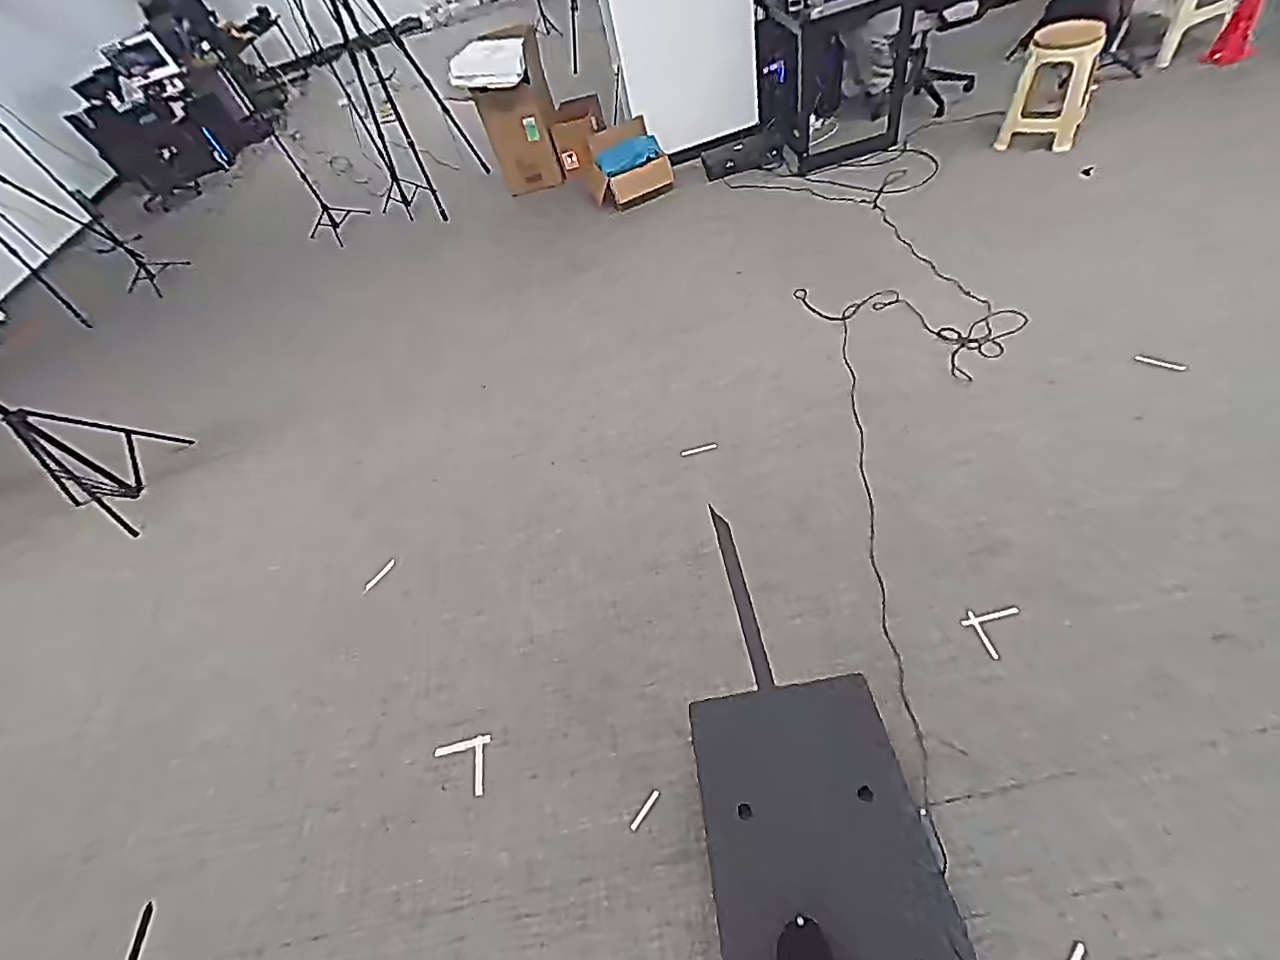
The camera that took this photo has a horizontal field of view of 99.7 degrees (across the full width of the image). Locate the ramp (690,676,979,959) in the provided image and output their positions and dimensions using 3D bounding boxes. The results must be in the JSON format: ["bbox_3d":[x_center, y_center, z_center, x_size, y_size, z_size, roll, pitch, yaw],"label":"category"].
[{"bbox_3d":[0.404,0.912,1.127,0.509,0.206,0.991,-15,50,6],"label":"ramp"}]
